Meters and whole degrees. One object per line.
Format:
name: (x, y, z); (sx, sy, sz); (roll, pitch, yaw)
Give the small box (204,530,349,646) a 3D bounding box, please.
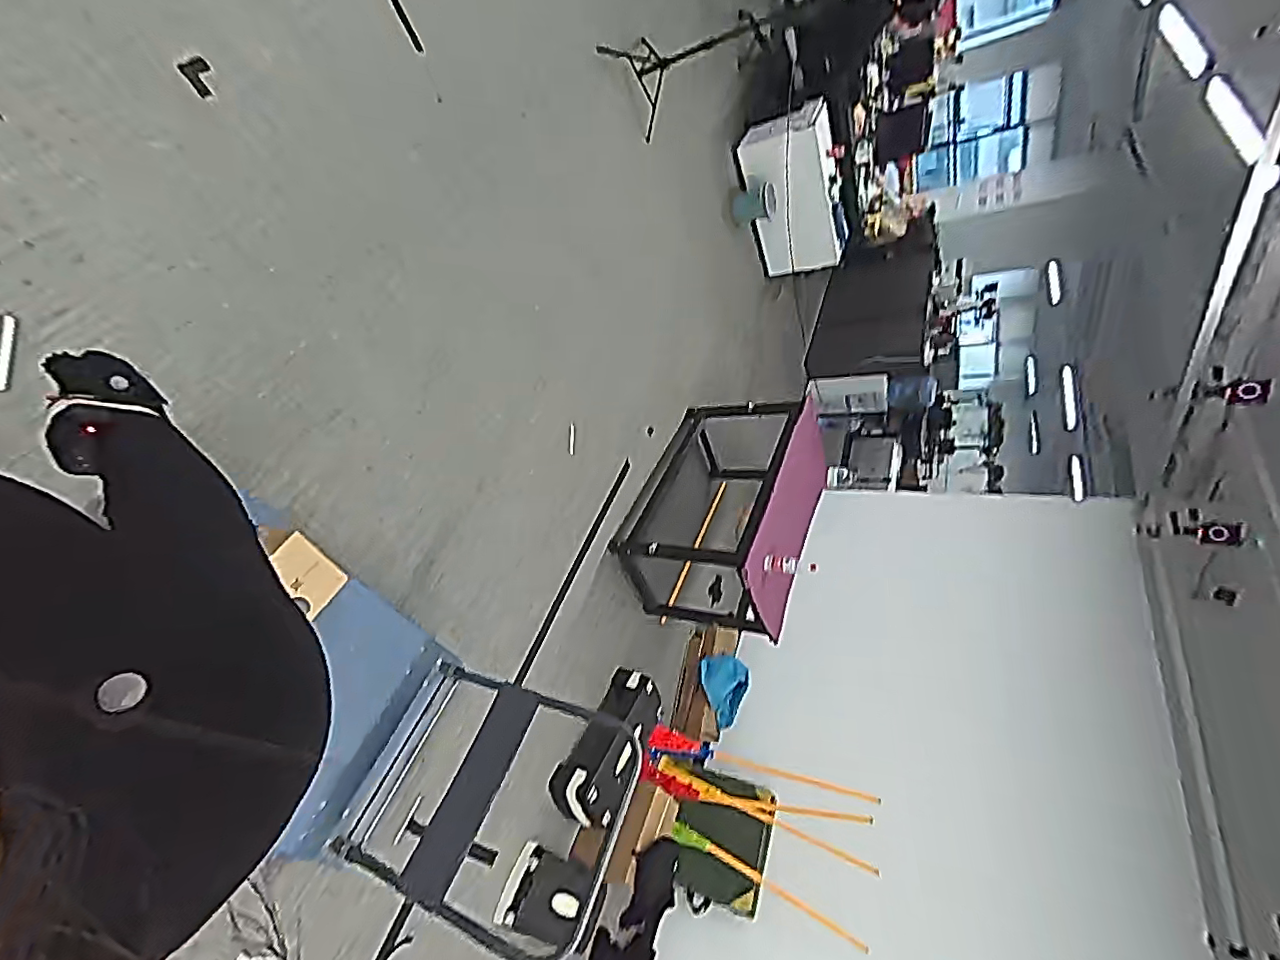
small box: (-0.786, 0.226, 1.164); (0.179, 0.176, 0.168); (-61, 140, -38)
